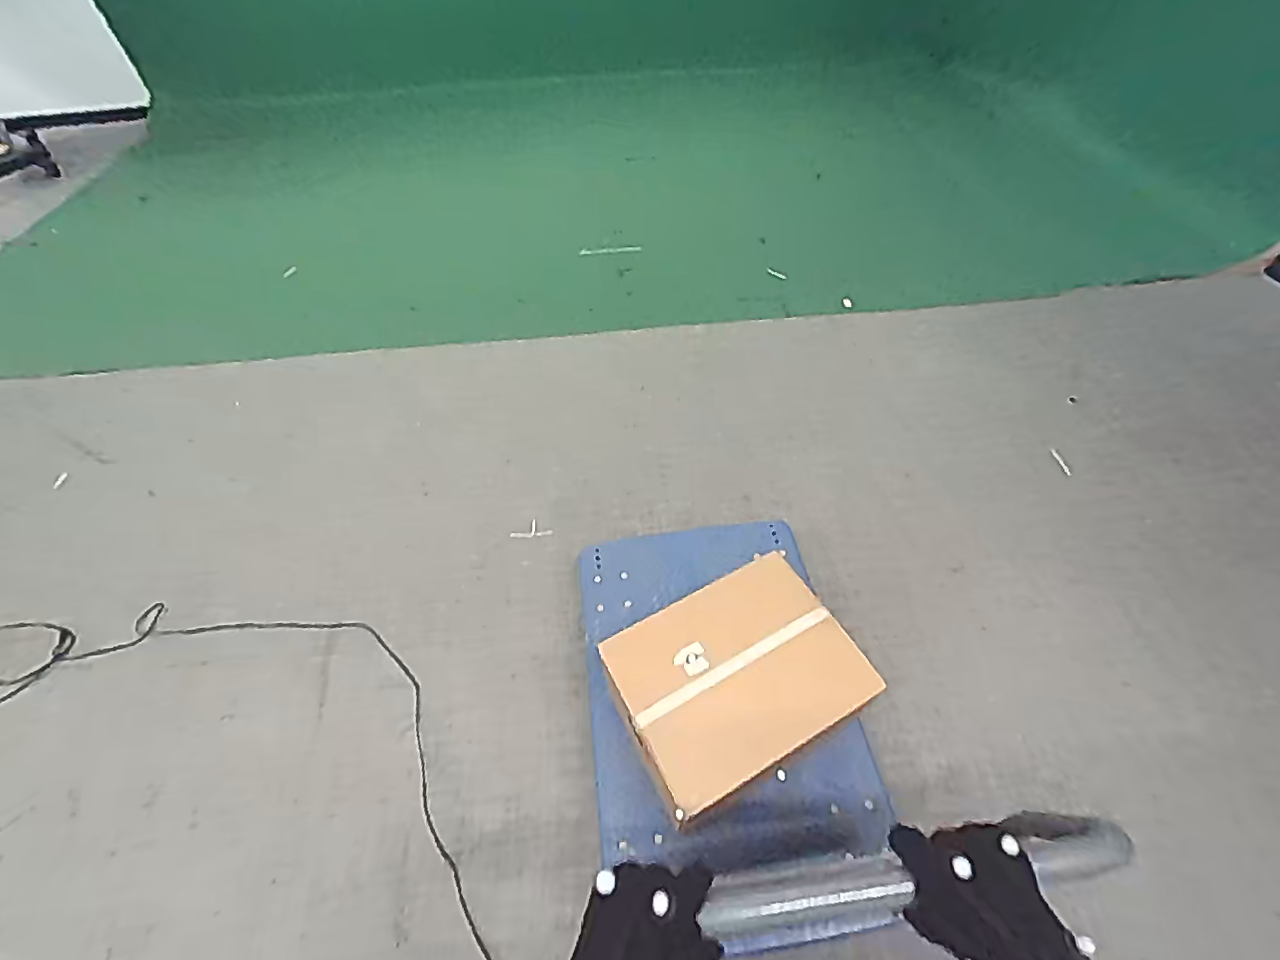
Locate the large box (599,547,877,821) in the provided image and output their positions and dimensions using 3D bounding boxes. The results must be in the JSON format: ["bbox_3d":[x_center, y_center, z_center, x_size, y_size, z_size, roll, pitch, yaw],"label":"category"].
[{"bbox_3d":[0.174,0.405,1.076,0.408,0.320,0.320,-25,55,-14],"label":"large box"}]
